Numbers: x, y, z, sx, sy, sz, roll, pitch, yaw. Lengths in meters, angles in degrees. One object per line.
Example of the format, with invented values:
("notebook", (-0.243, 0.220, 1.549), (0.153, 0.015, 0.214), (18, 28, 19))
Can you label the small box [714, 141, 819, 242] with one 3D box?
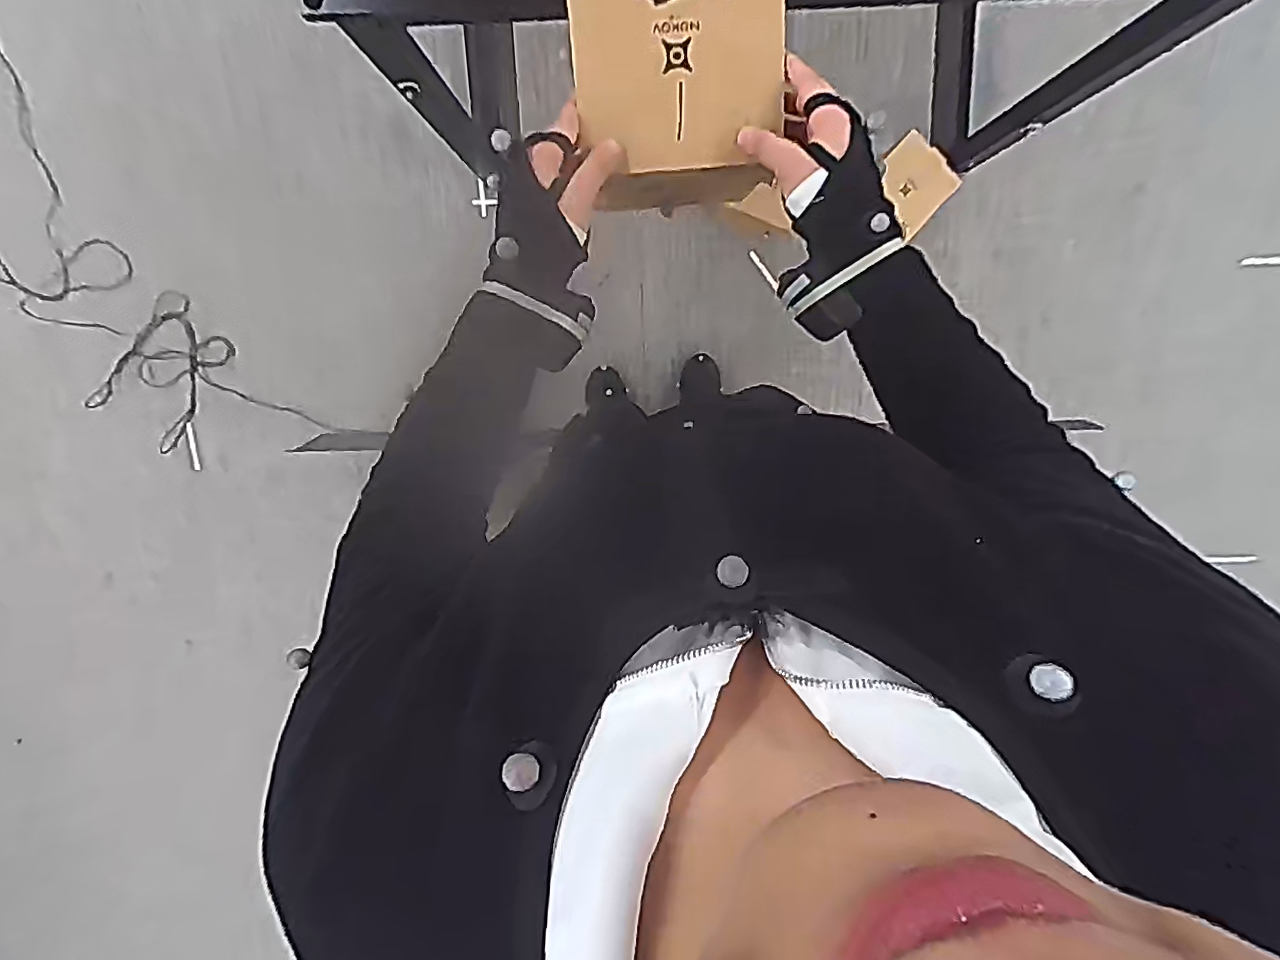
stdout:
("small box", (0.288, -0.681, 1.274), (0.179, 0.176, 0.168), (19, 101, -2))

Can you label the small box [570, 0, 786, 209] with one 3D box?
("small box", (0.027, -0.359, 0.488), (0.168, 0.176, 0.179), (-4, 108, 1))

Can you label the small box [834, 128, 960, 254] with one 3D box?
("small box", (0.591, -0.666, 1.270), (0.168, 0.176, 0.179), (41, 100, -7))
